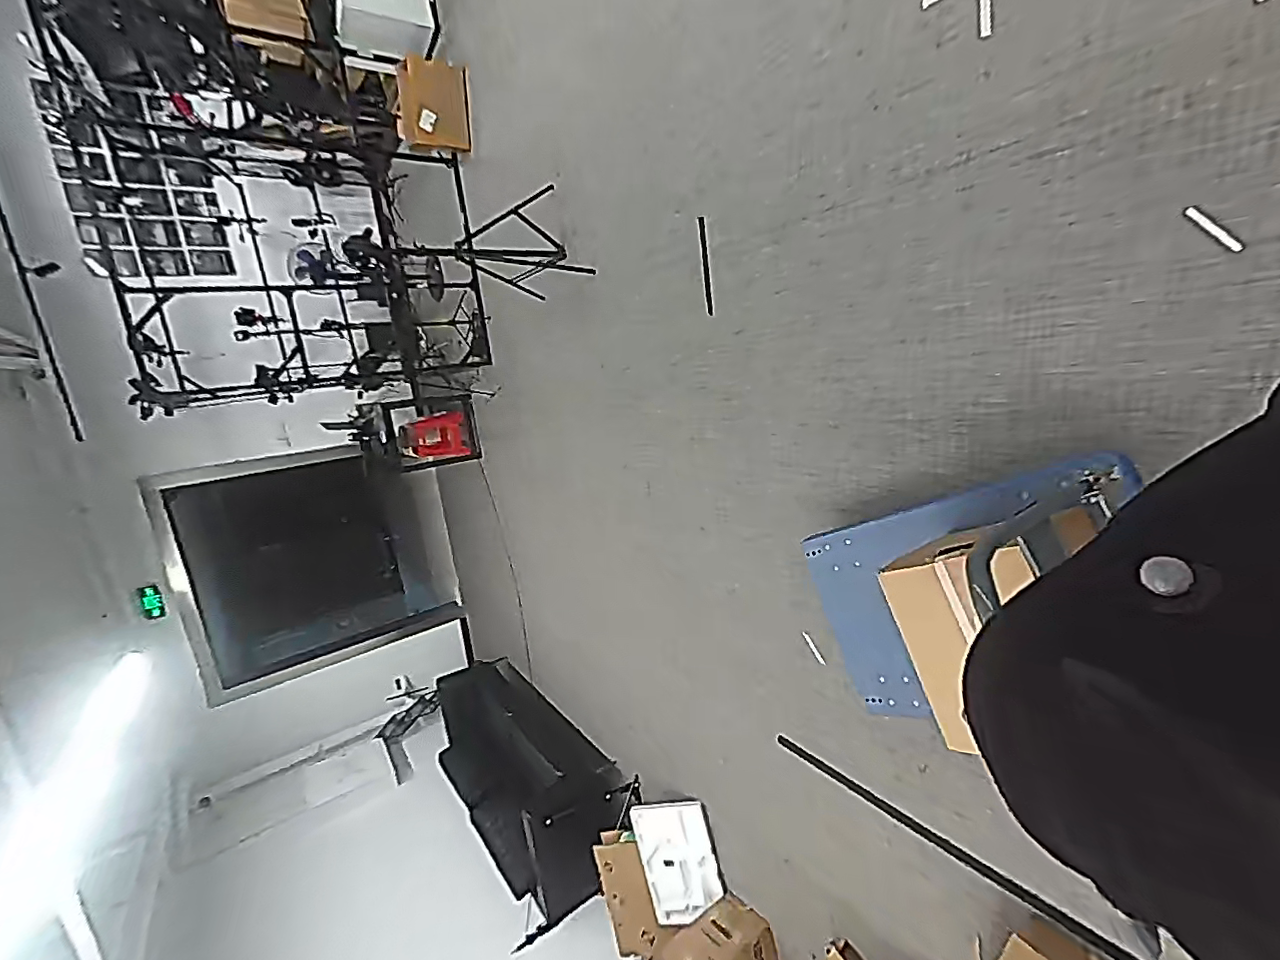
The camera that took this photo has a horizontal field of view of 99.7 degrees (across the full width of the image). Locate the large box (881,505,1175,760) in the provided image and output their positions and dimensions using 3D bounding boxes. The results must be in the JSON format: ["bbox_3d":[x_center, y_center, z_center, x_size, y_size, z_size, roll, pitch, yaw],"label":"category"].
[{"bbox_3d":[0.803,0.308,1.143,0.320,0.320,0.408,-32,74,55],"label":"large box"}]
